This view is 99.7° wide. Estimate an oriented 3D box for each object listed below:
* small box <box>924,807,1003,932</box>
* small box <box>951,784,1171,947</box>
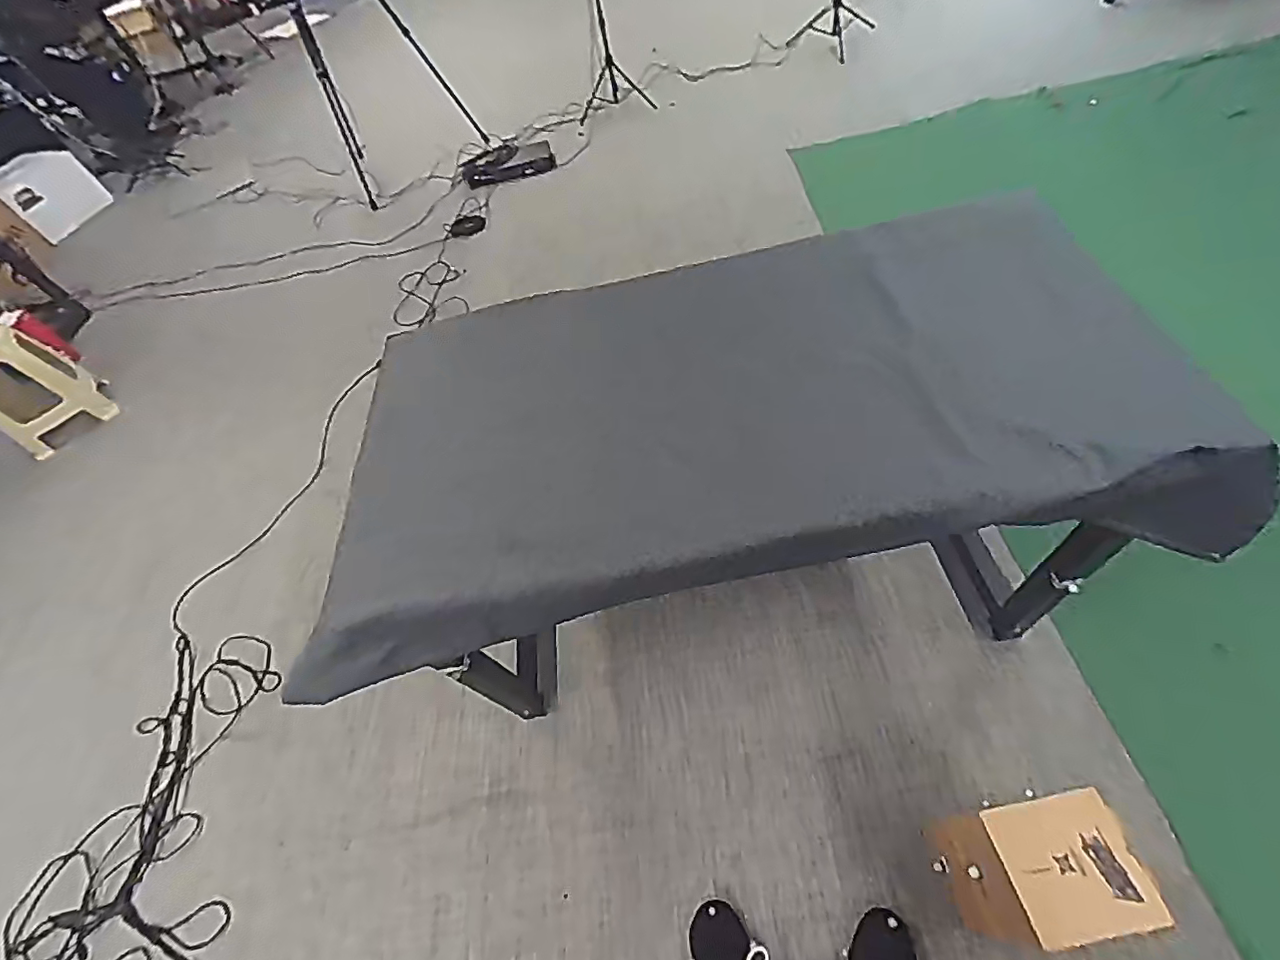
[{"bbox_3d":[0.639,0.672,0.956,0.179,0.176,0.168,-14,54,4],"label":"small box"},{"bbox_3d":[0.616,0.578,0.823,0.179,0.176,0.168,-15,53,3],"label":"small box"}]
